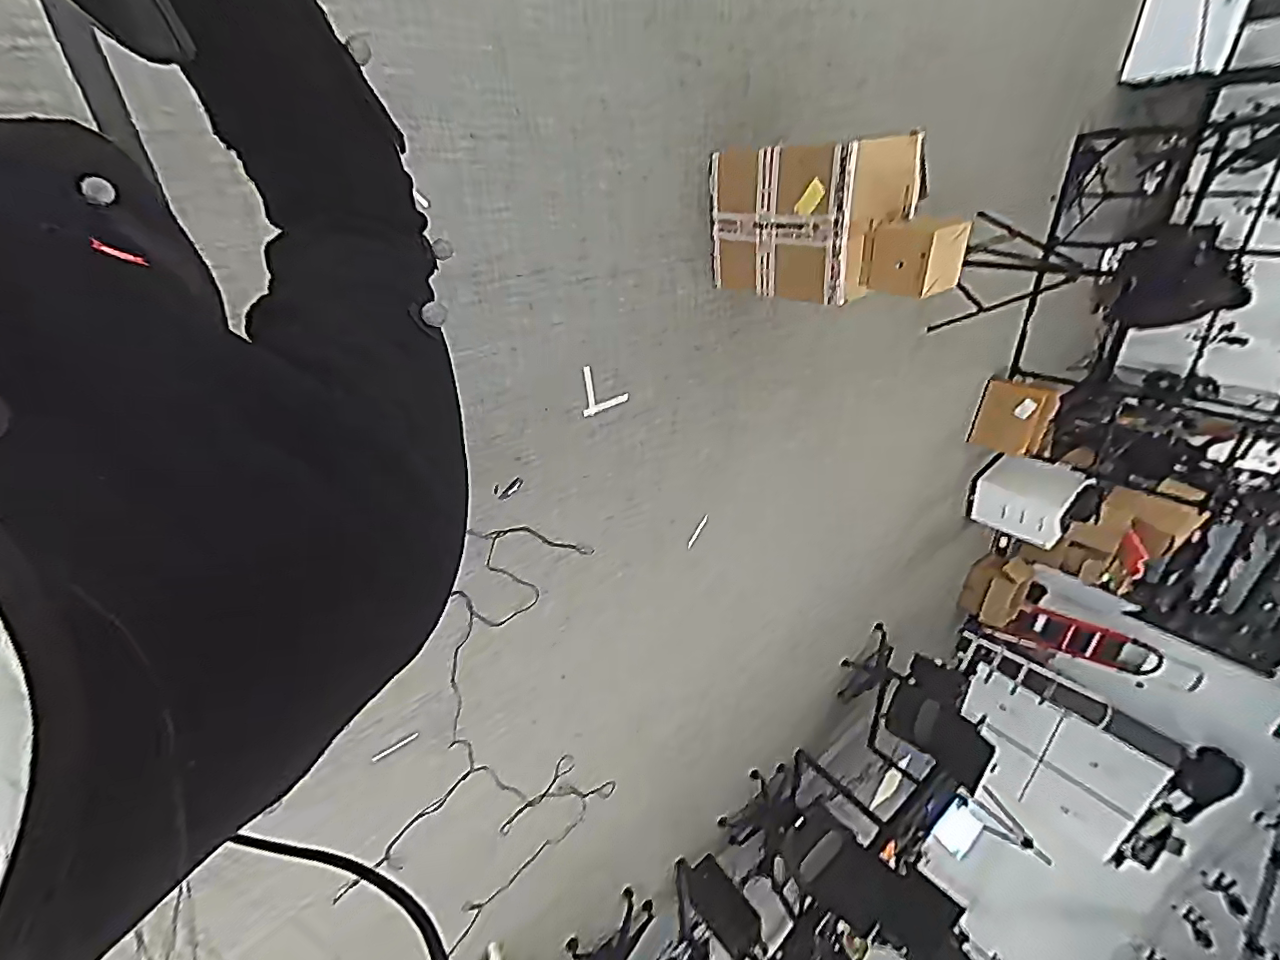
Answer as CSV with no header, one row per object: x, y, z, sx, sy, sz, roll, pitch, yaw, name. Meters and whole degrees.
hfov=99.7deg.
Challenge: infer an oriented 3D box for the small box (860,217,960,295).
0.738,-0.614,1.480,0.179,0.176,0.168,-25,128,-27,small box
